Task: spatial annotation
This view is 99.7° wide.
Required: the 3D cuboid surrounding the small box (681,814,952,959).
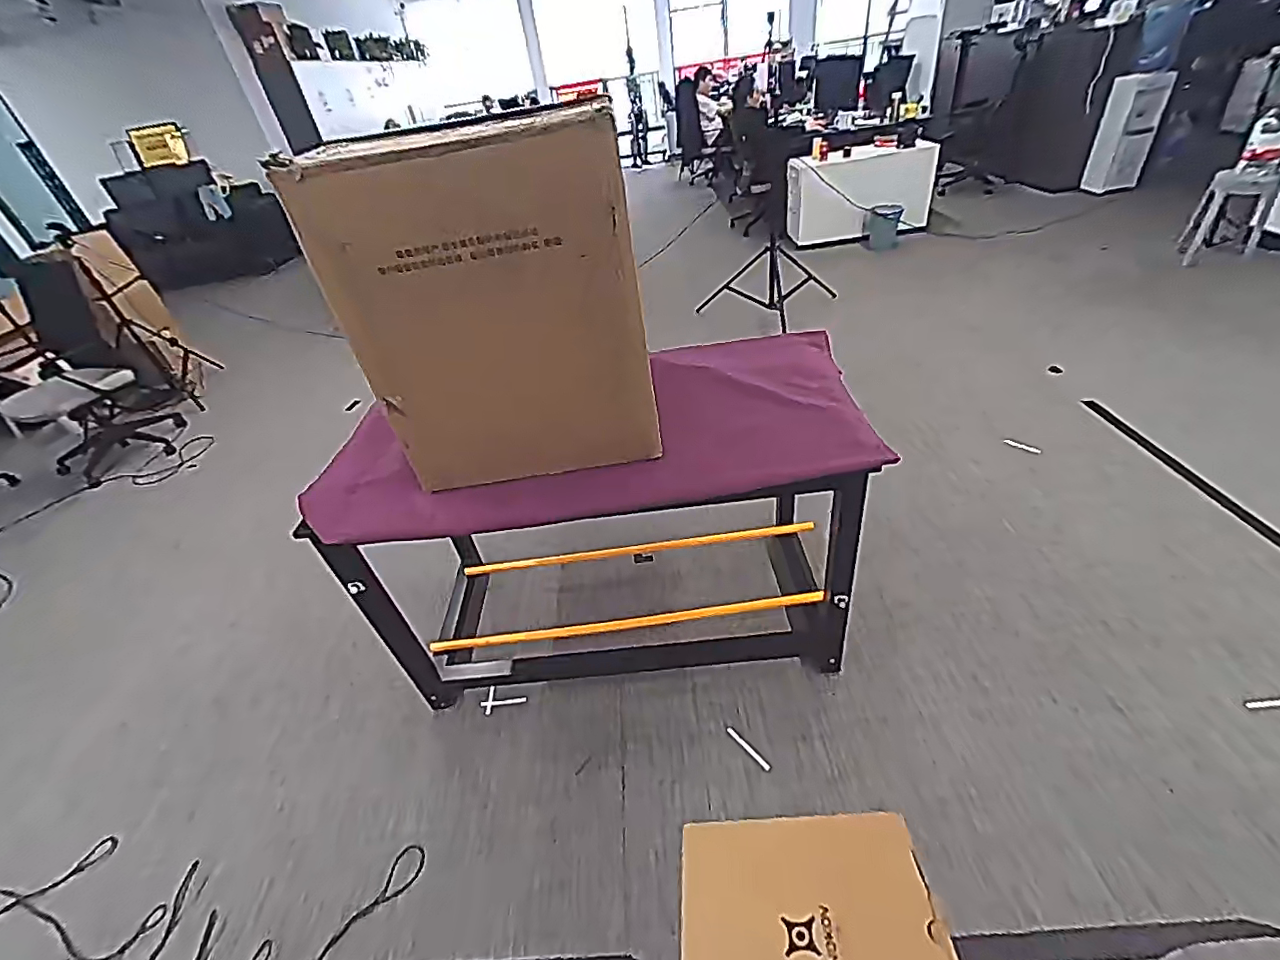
[{"bbox_3d":[0.132,0.382,0.395,0.179,0.176,0.168,-10,23,10],"label":"small box"}]
